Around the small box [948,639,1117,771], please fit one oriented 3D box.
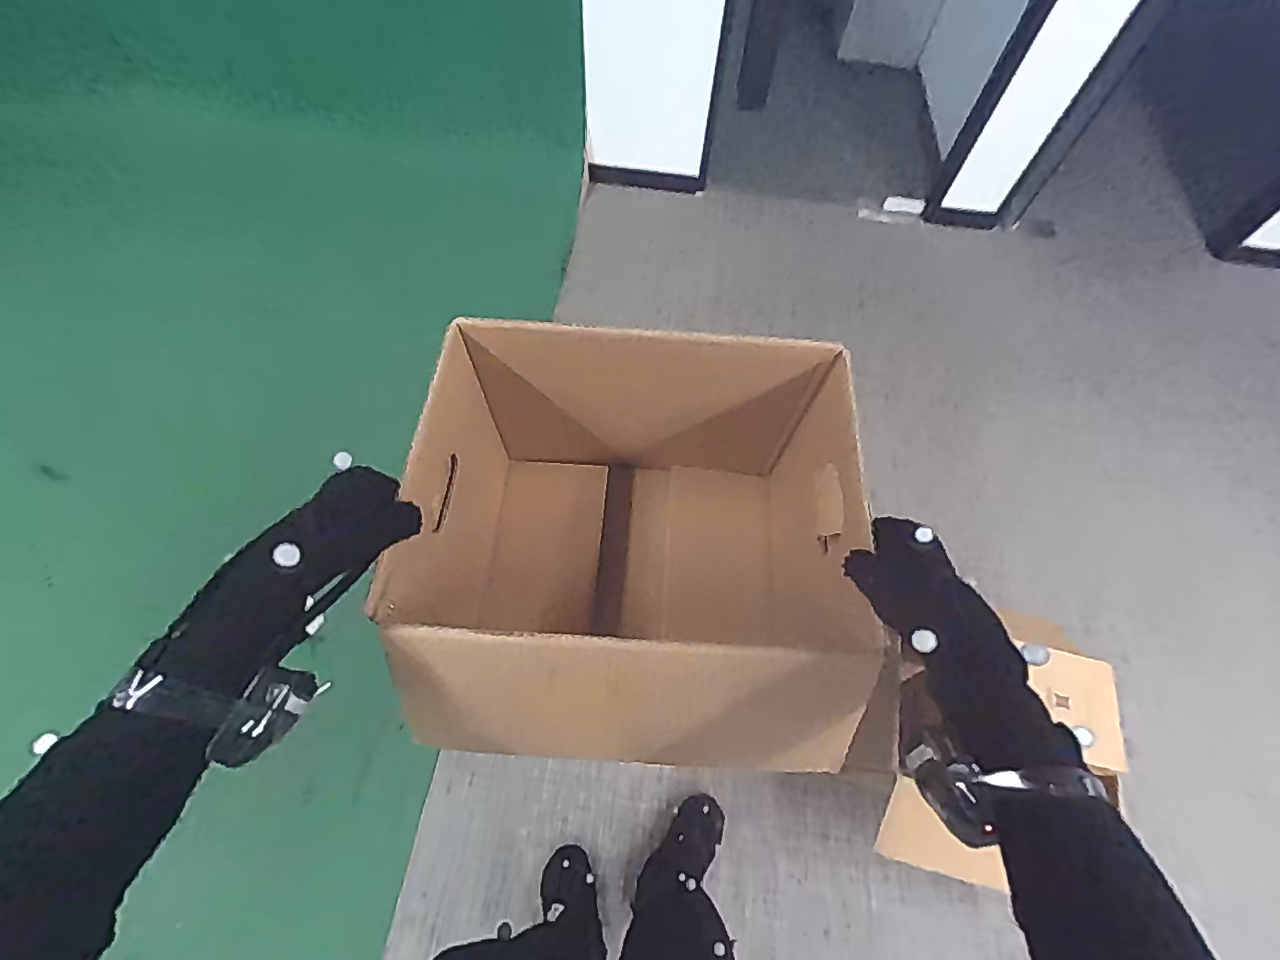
[{"bbox_3d":[0.656,0.393,0.933,0.179,0.176,0.168,12,61,6],"label":"small box"}]
